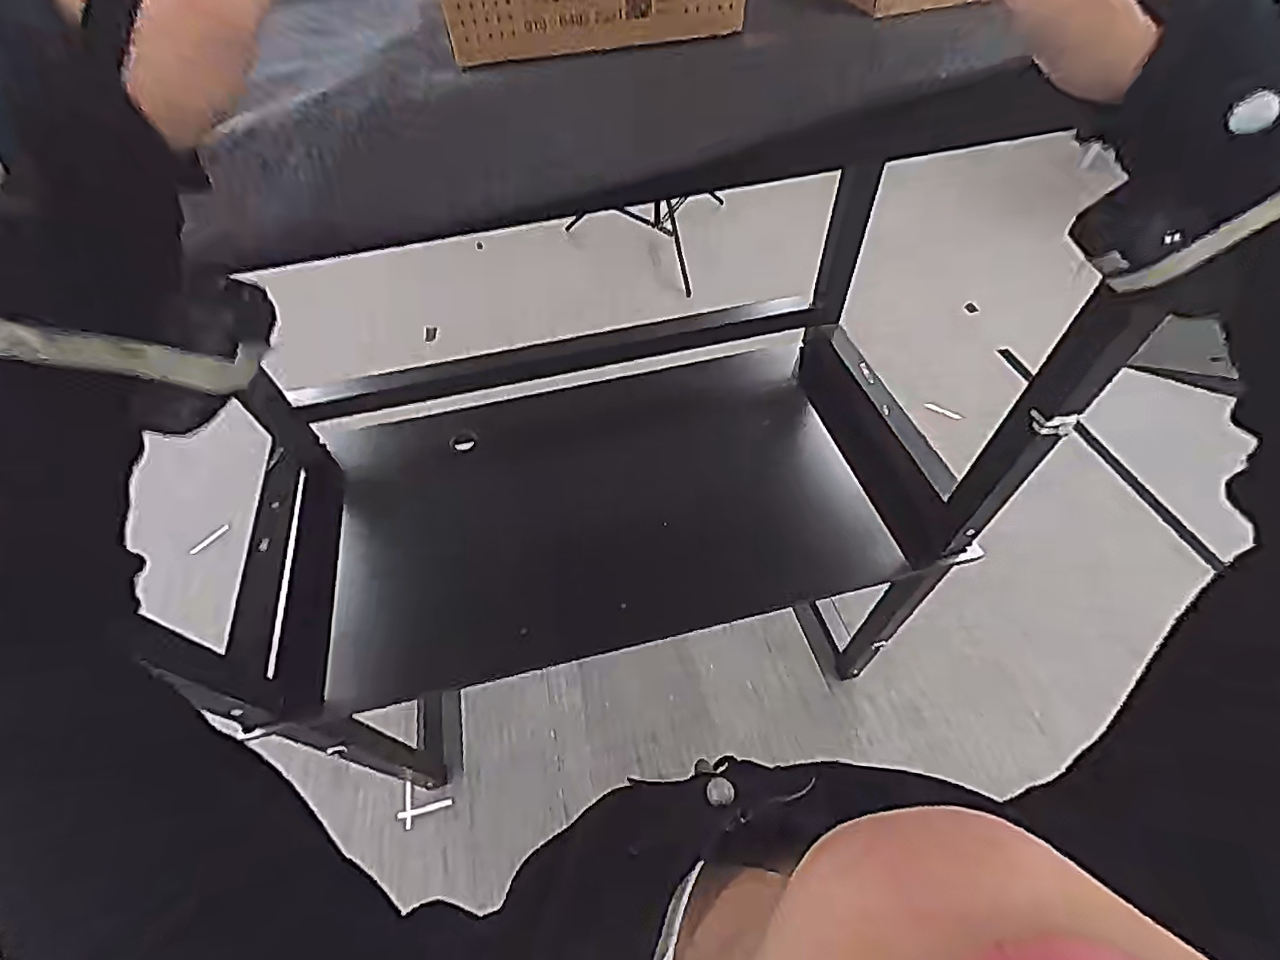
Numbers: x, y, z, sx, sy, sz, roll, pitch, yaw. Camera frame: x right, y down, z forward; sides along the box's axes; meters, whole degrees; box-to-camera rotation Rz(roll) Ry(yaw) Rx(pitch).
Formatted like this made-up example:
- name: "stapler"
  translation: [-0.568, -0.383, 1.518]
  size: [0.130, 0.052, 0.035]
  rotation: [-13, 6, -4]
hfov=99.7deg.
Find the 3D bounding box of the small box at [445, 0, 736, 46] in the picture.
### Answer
- name: "small box"
  translation: [-0.040, -0.359, 0.290]
  size: [0.168, 0.176, 0.179]
  rotation: [-10, 53, -4]
